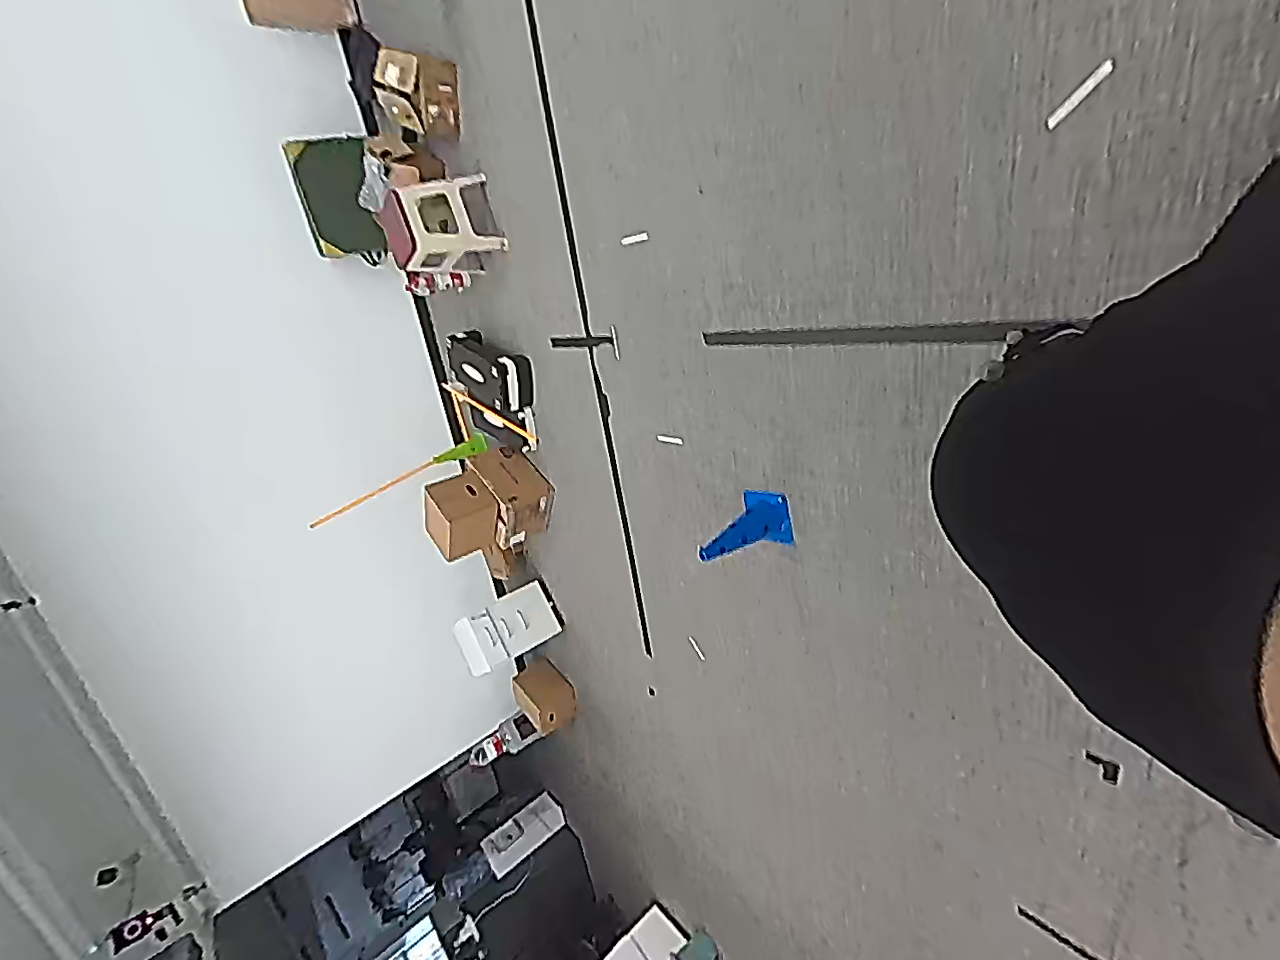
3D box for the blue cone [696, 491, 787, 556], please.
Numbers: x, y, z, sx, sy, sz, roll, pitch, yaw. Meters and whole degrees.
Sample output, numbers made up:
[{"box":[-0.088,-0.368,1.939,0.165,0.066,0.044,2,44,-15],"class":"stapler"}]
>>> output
[{"box":[0.339,0.187,1.910,0.193,0.380,0.192,8,115,51],"class":"blue cone"}]
